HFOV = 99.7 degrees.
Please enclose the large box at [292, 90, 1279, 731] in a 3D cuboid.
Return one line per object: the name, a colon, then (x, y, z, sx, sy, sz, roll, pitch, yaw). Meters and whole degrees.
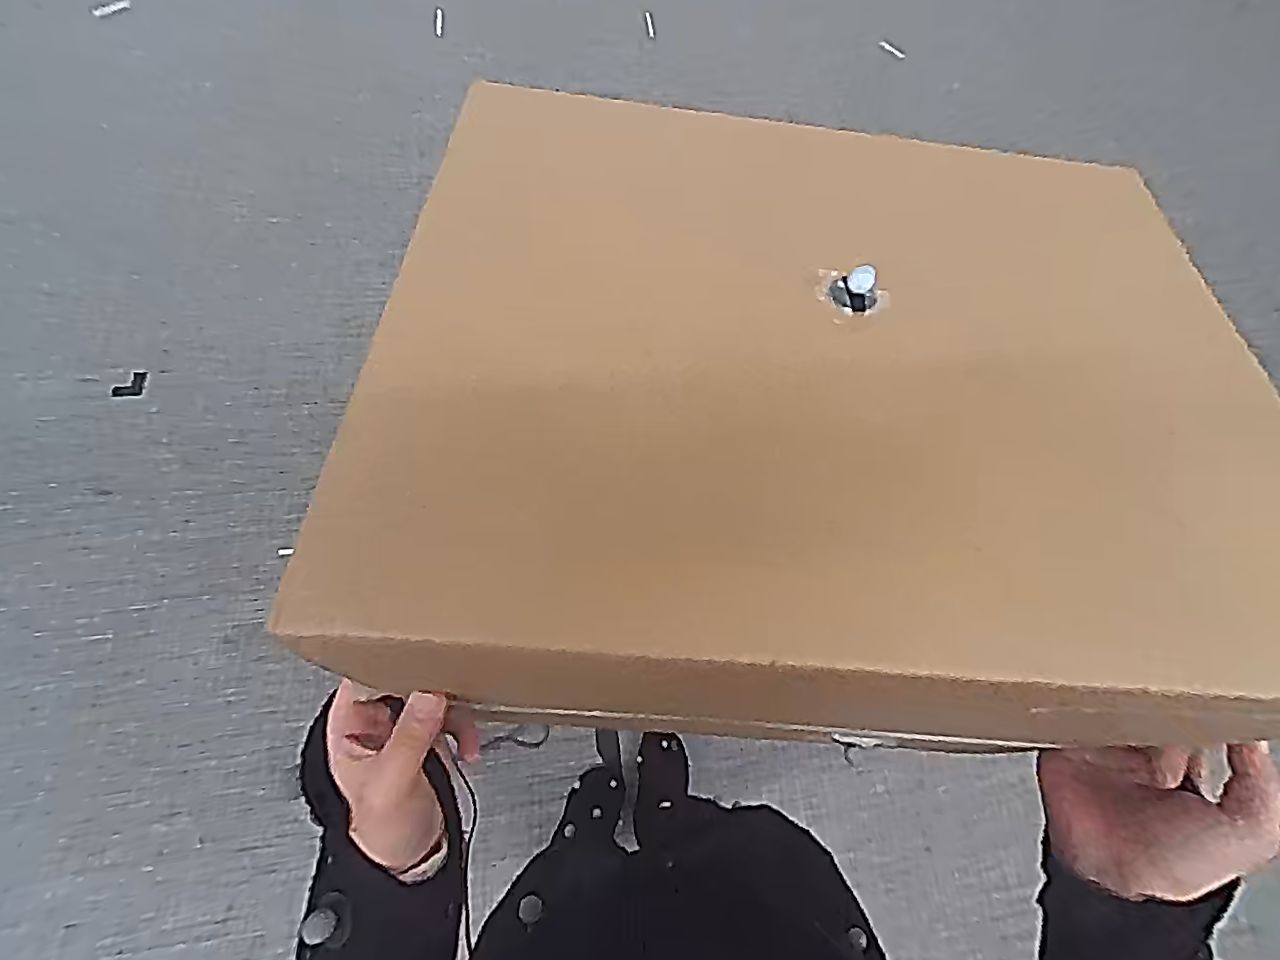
large box: (0.080, -0.012, 0.375, 0.408, 0.320, 0.320, 4, 63, -3)
